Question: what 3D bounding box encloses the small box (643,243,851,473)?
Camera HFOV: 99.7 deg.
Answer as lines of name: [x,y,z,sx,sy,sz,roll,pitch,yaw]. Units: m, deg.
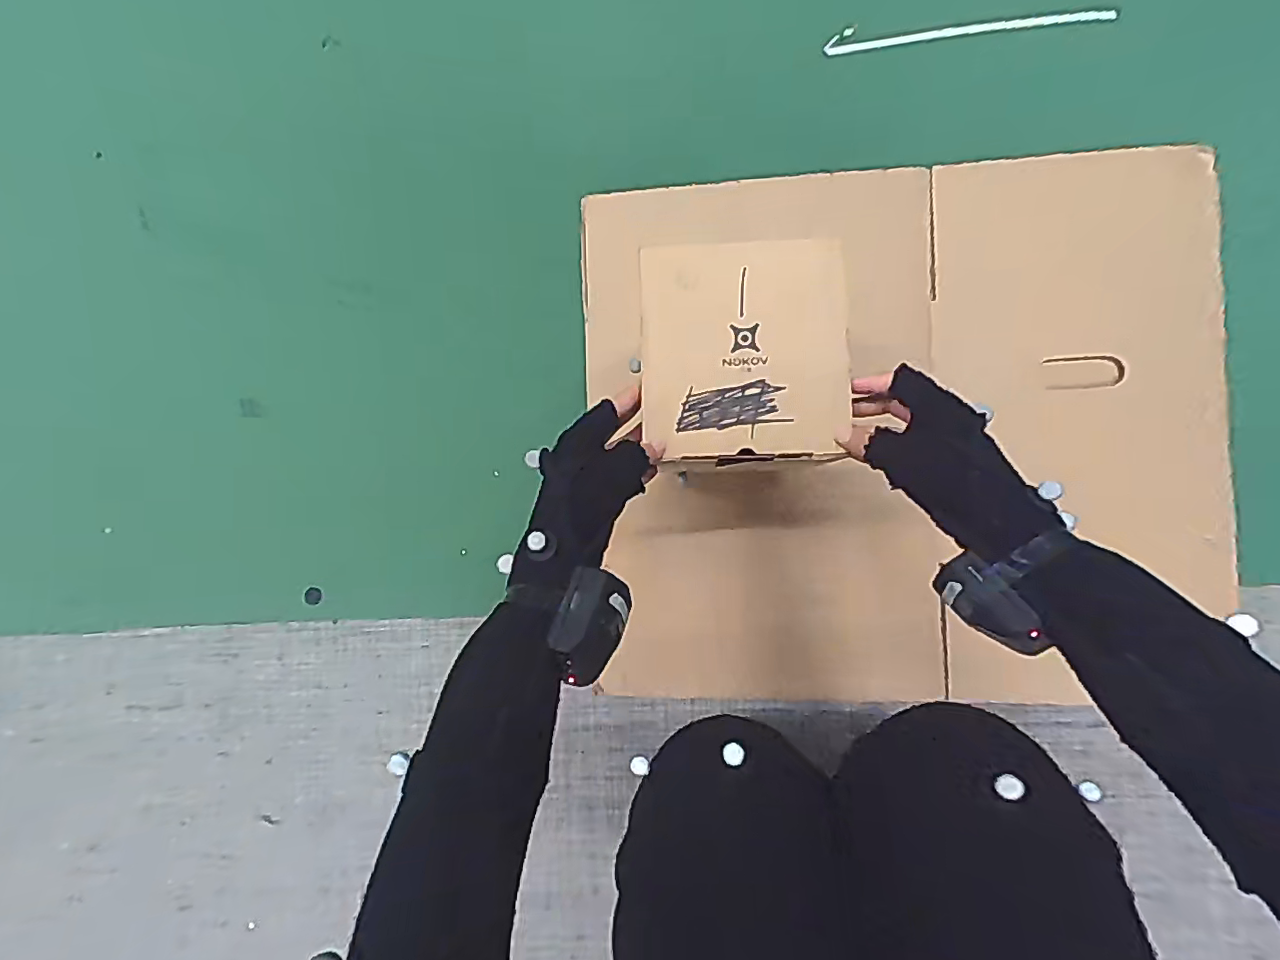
small box: [0.091,-0.097,0.512,0.168,0.176,0.179,-1,86,5]
